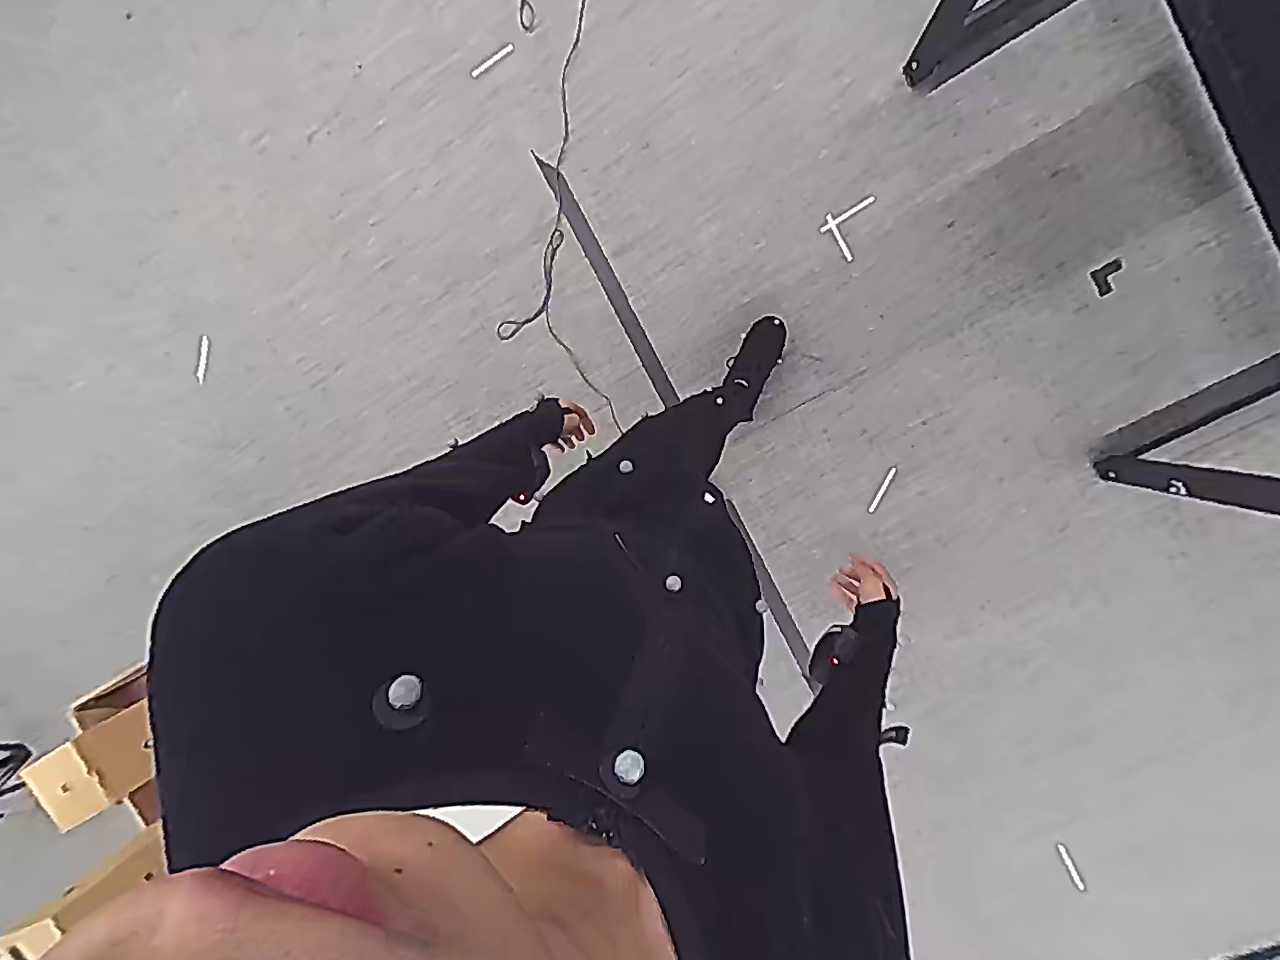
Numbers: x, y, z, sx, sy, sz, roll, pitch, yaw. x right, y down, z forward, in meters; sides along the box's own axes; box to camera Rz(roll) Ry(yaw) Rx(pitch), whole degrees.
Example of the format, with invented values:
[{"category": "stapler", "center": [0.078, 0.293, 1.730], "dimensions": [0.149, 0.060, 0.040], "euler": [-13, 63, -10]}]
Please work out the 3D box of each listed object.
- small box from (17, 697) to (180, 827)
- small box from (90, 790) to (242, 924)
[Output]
[{"category": "small box", "center": [-1.221, 0.634, 1.232], "dimensions": [0.179, 0.176, 0.168], "euler": [-31, 94, 11]}, {"category": "small box", "center": [-1.086, 0.864, 1.252], "dimensions": [0.179, 0.176, 0.168], "euler": [-27, 95, 13]}]
